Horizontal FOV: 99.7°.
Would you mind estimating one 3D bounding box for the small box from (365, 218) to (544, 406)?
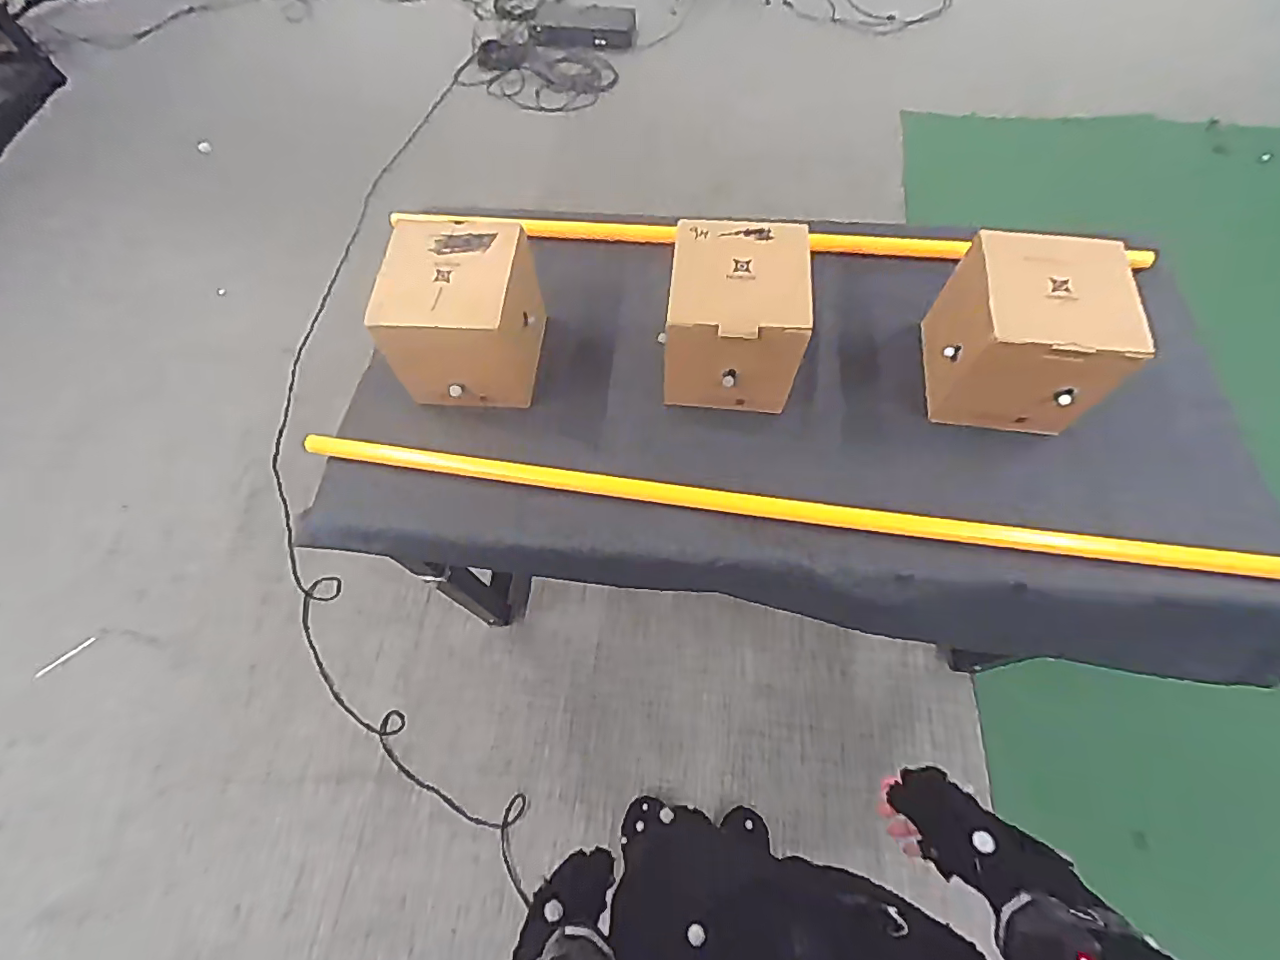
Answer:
[{"bbox_3d":[-0.233,-0.223,0.734,0.168,0.176,0.179,3,65,4],"label":"small box"}]

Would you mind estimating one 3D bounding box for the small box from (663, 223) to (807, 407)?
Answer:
[{"bbox_3d":[0.120,-0.212,0.721,0.168,0.176,0.179,2,63,5],"label":"small box"}]

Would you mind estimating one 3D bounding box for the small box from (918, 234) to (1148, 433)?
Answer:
[{"bbox_3d":[0.477,-0.179,0.690,0.168,0.176,0.179,8,63,5],"label":"small box"}]
